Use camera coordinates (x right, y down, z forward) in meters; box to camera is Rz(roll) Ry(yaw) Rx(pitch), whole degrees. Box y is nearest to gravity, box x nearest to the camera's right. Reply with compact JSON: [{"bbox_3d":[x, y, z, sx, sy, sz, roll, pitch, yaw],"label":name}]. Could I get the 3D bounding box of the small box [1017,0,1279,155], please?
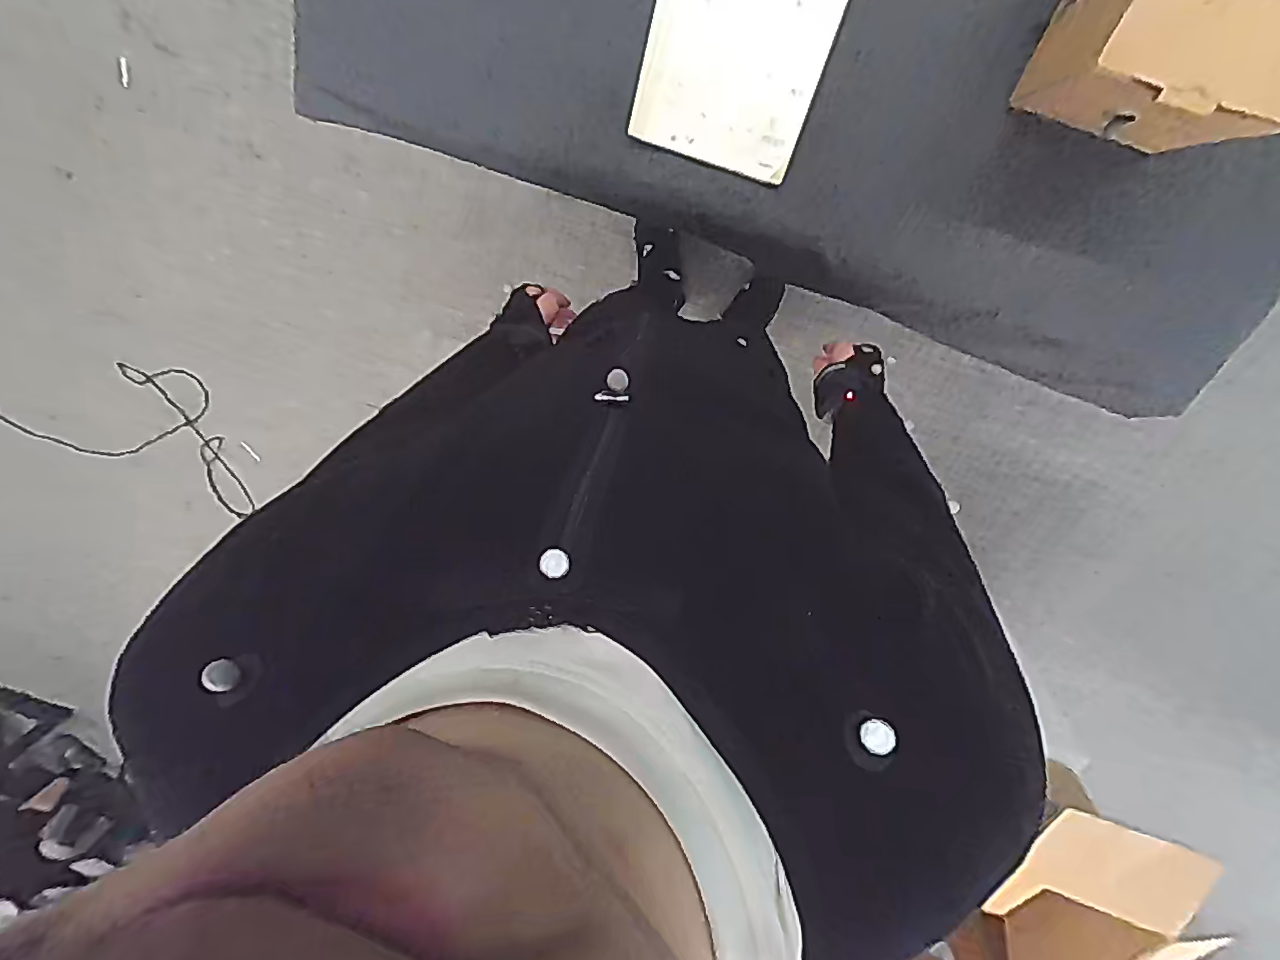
[{"bbox_3d":[0.482,-0.411,0.481,0.168,0.176,0.179,19,119,1],"label":"small box"}]
